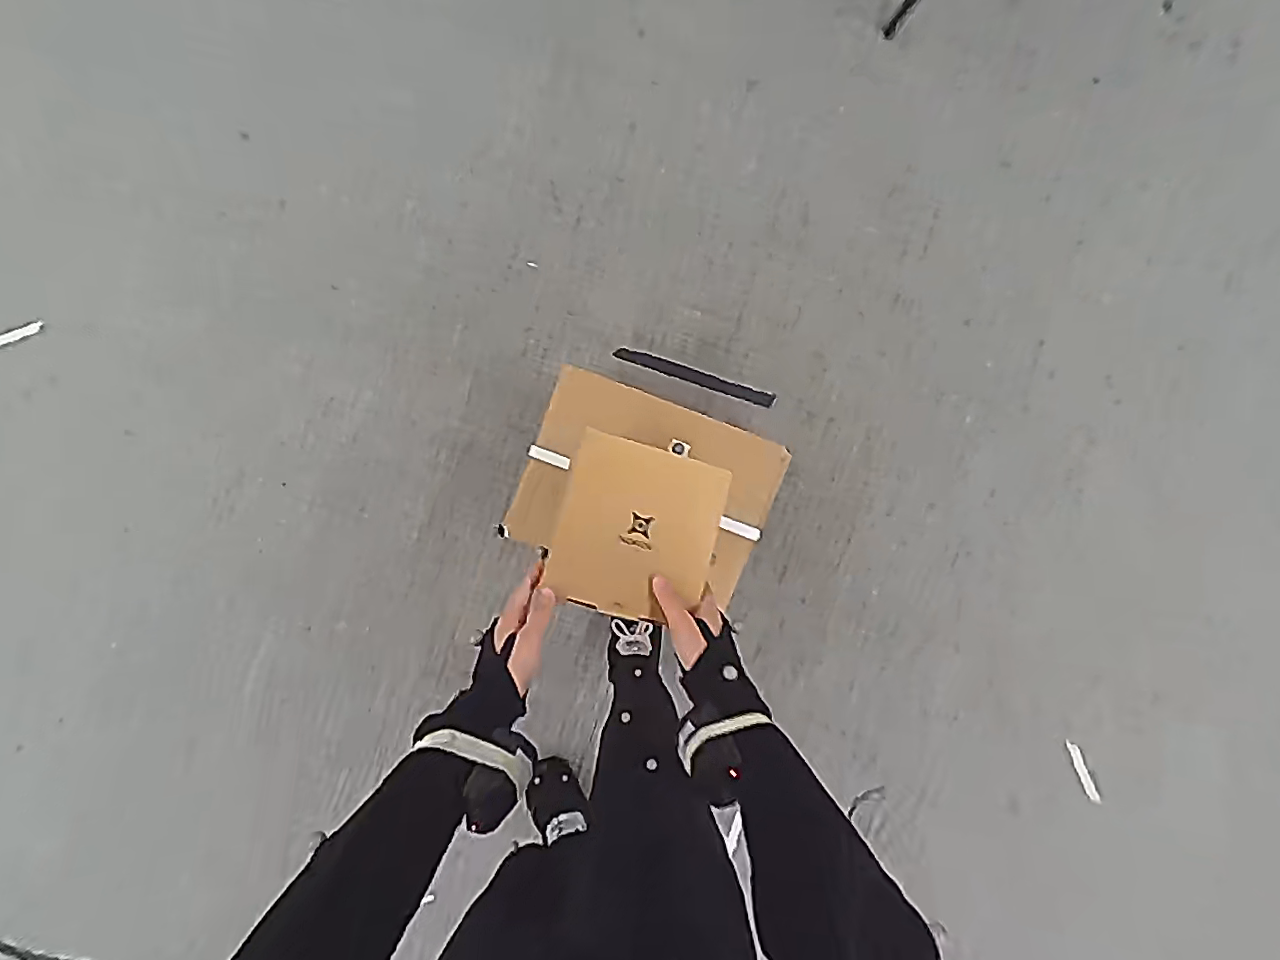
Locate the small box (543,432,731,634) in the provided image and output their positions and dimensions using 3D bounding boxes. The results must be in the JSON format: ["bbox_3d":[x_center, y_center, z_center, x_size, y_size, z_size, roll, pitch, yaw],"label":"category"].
[{"bbox_3d":[-0.015,0.061,0.630,0.168,0.176,0.179,15,82,-10],"label":"small box"}]
